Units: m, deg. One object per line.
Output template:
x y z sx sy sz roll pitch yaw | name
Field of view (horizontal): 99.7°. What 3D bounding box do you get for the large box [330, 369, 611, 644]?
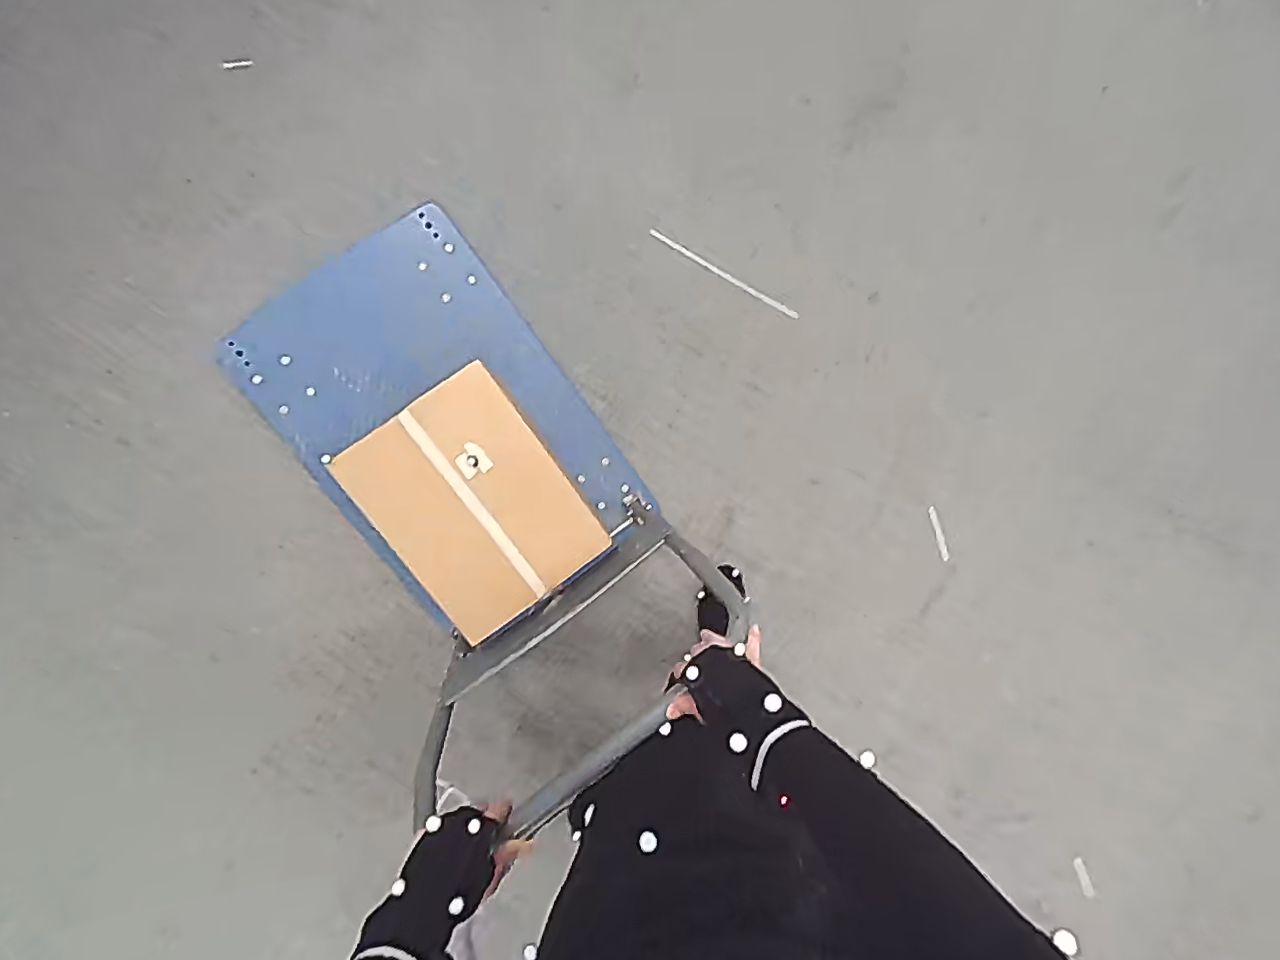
-0.305 0.041 1.095 0.320 0.320 0.408 -37 98 -4 | large box
